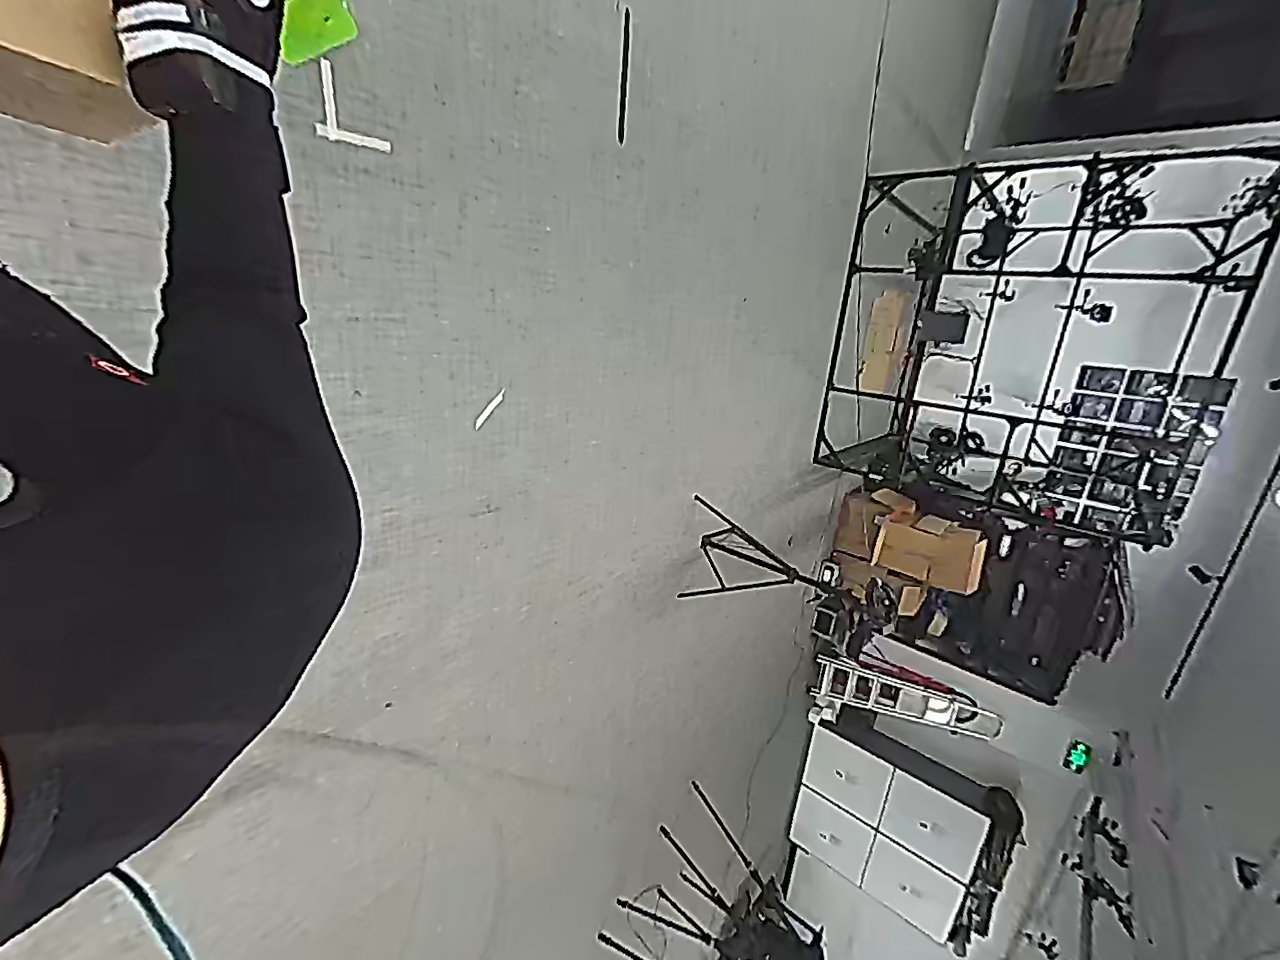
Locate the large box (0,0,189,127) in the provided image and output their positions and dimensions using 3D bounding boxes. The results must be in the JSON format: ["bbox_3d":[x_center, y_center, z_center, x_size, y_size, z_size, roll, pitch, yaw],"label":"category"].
[{"bbox_3d":[-0.551,-0.452,0.293,0.408,0.320,0.320,-9,114,-52],"label":"large box"}]

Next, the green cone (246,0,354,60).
[{"bbox_3d":[-0.597,-0.982,1.033,0.202,0.368,0.200,-53,141,-26],"label":"green cone"}]
